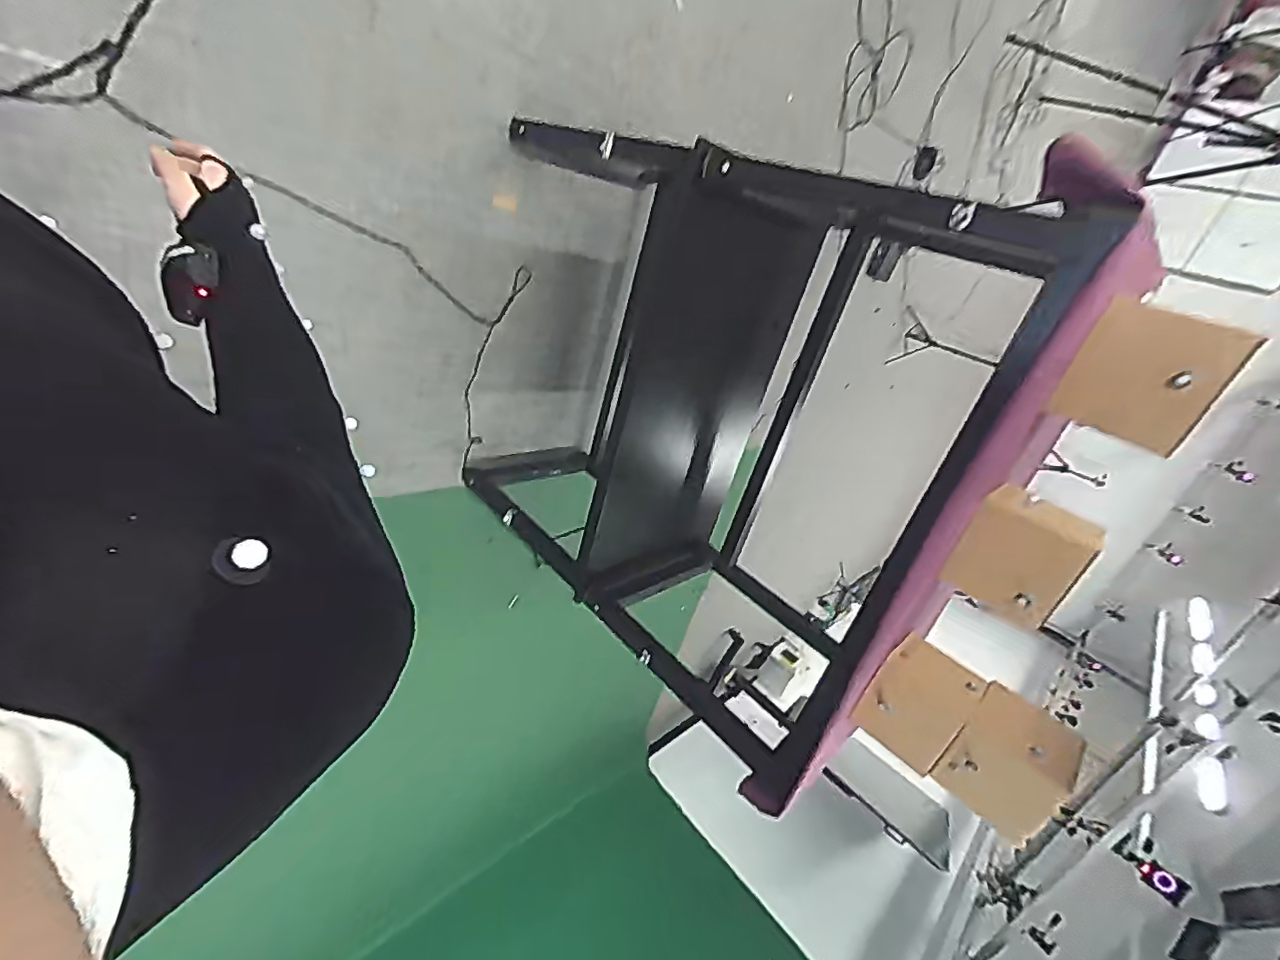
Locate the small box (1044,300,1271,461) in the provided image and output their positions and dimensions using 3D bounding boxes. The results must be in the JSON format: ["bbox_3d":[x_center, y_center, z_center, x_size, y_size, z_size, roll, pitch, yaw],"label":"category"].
[{"bbox_3d":[0.734,-0.152,0.784,0.168,0.176,0.179,-15,130,-42],"label":"small box"}]

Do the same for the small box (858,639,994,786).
[{"bbox_3d":[0.567,0.459,1.093,0.168,0.176,0.179,-13,128,-46],"label":"small box"}]

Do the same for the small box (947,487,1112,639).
[{"bbox_3d":[0.661,0.134,0.934,0.168,0.176,0.179,-12,126,-45],"label":"small box"}]
